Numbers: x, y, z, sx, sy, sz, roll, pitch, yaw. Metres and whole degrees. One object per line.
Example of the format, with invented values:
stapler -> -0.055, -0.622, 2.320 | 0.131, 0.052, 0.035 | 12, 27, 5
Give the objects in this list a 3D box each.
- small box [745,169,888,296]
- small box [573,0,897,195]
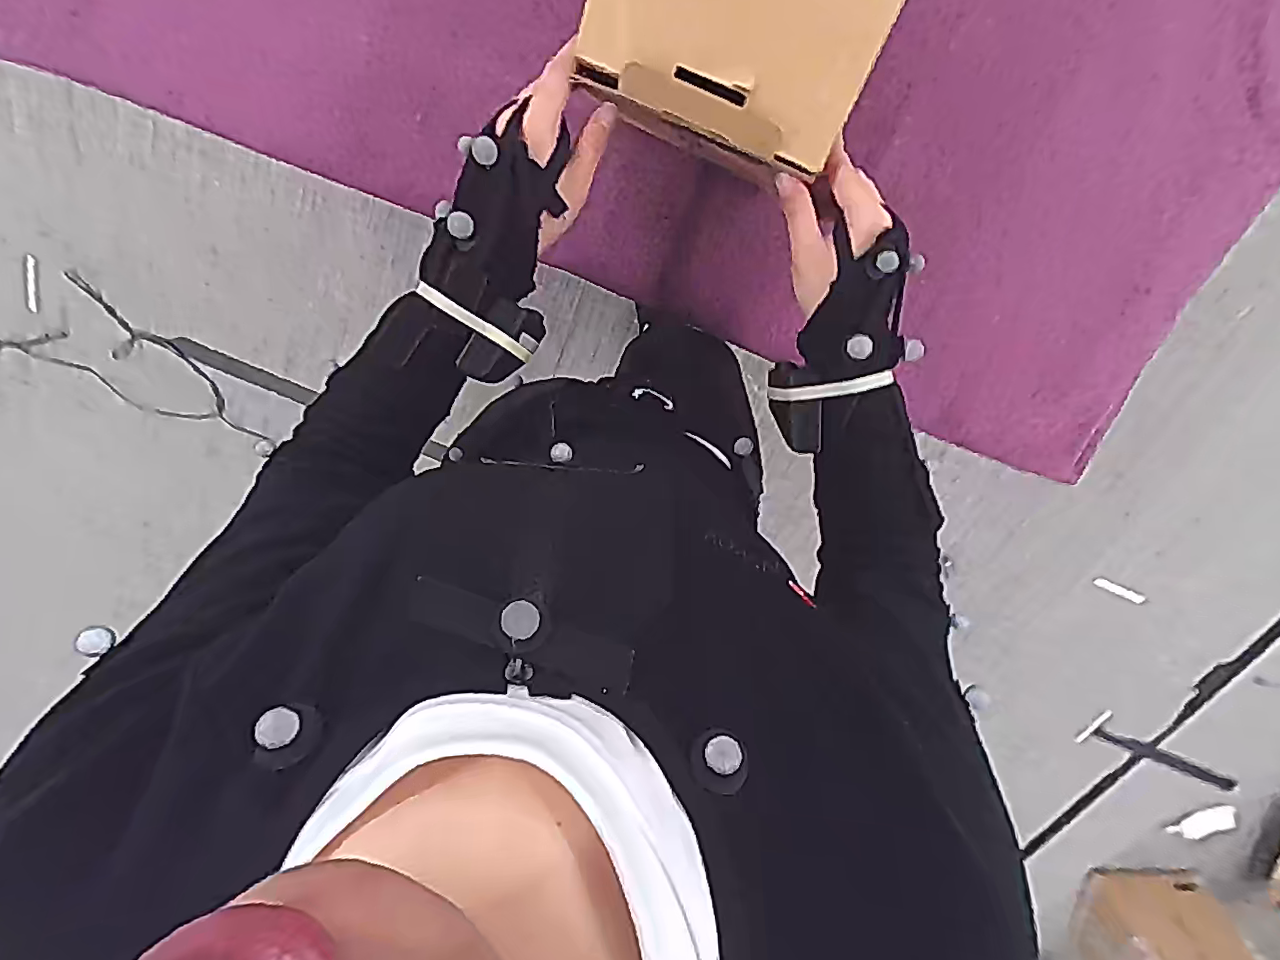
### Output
small box -> 0.306, -0.452, 0.987 | 0.179, 0.176, 0.168 | 22, 114, -5
small box -> 0.068, -0.320, 0.368 | 0.168, 0.179, 0.176 | 22, 114, -8
